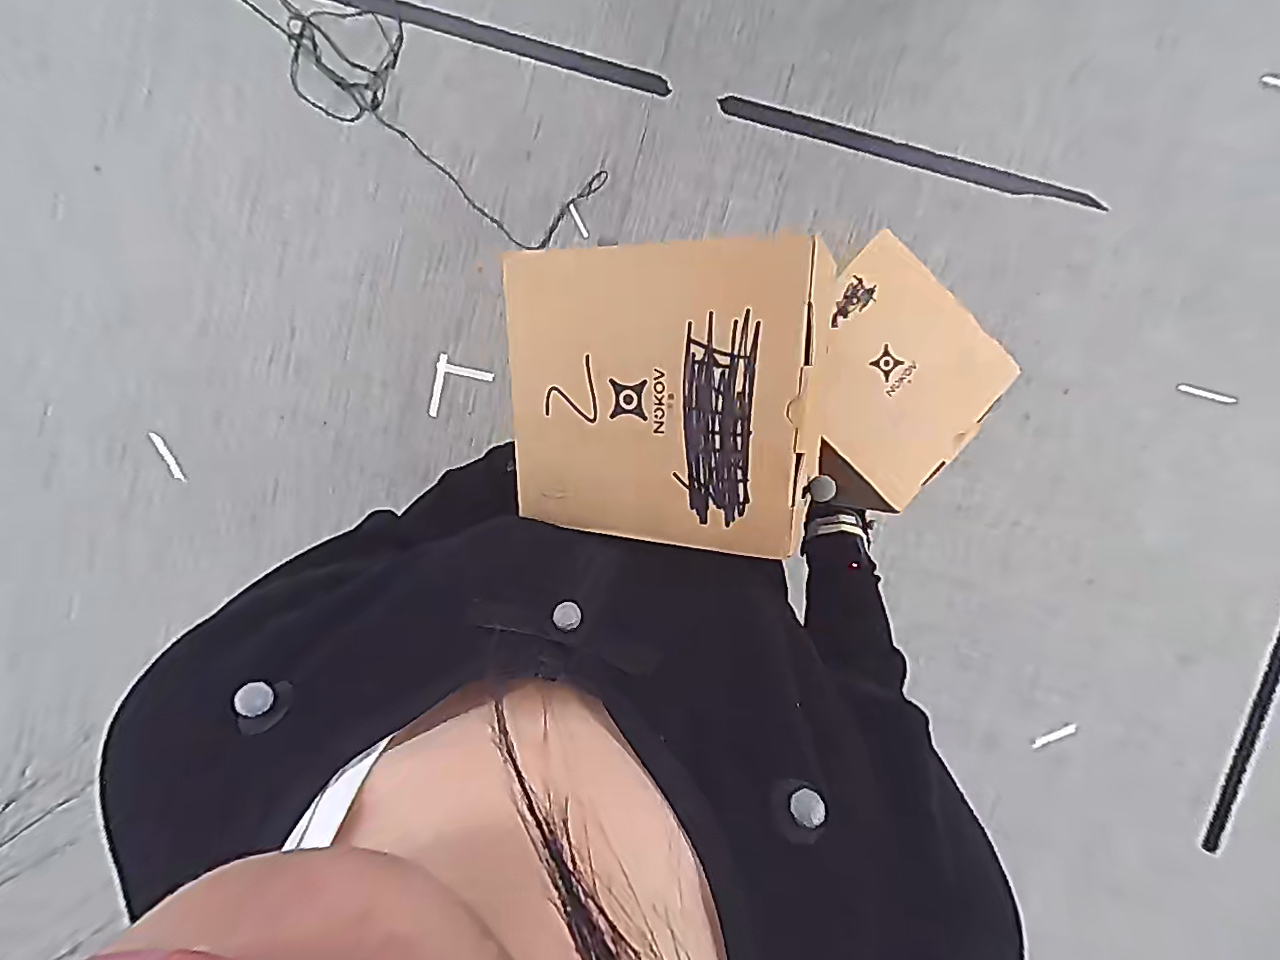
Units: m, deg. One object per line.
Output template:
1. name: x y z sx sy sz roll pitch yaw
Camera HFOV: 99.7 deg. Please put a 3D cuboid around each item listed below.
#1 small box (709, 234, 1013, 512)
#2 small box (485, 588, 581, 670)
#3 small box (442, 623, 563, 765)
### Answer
1. small box: 0.198 -0.094 0.530 0.179 0.176 0.168 43 86 -8
2. small box: -0.236 0.345 1.131 0.179 0.176 0.168 23 93 0
3. small box: -0.237 0.371 0.970 0.168 0.176 0.179 7 94 1
